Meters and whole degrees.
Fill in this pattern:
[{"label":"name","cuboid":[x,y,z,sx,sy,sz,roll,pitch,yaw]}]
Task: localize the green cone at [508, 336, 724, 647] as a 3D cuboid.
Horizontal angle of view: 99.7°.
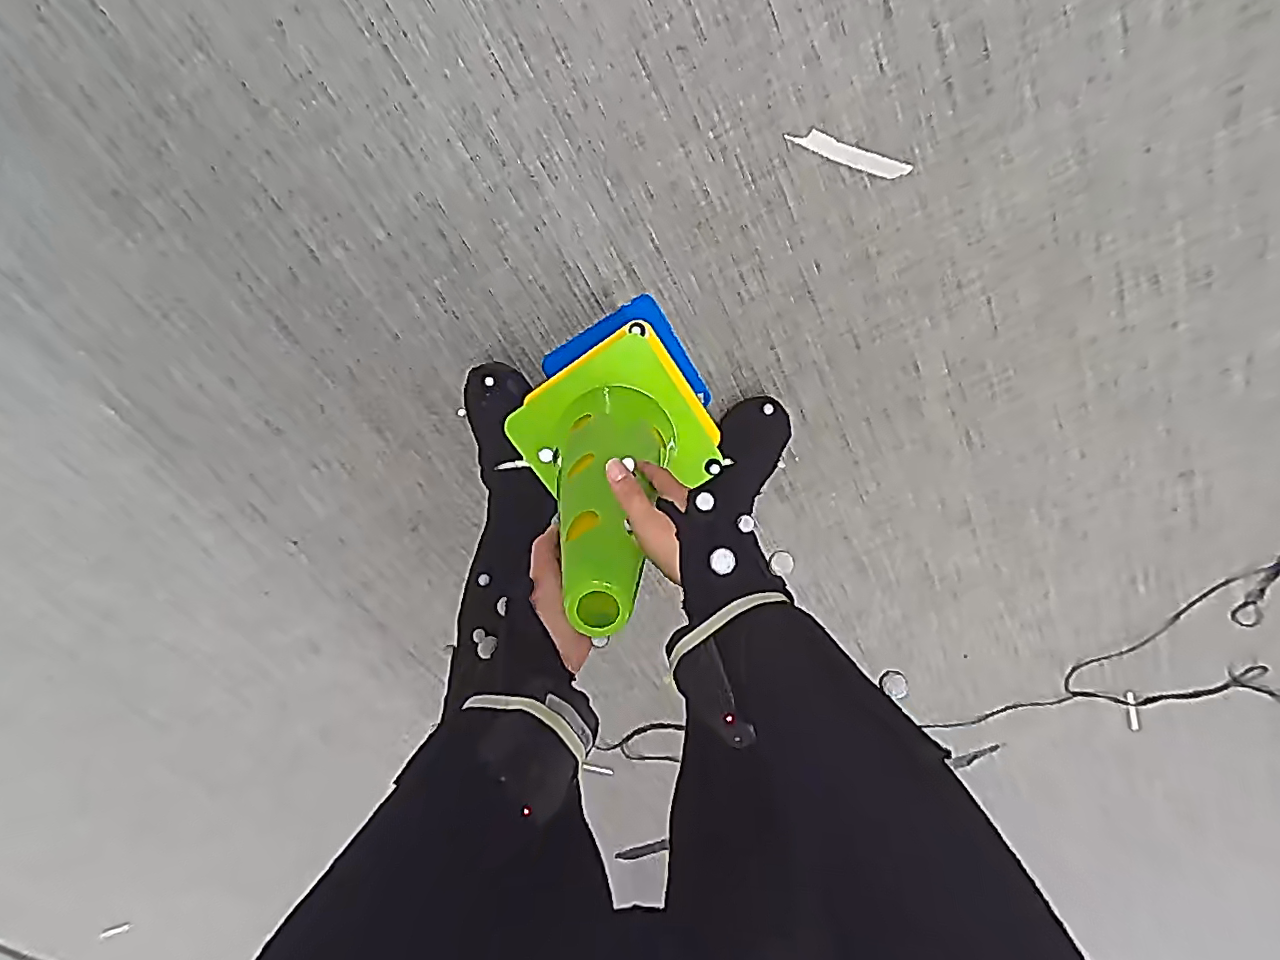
[{"label":"green cone","cuboid":[-0.027,0.017,0.480,0.202,0.368,0.200,-33,106,11]}]
